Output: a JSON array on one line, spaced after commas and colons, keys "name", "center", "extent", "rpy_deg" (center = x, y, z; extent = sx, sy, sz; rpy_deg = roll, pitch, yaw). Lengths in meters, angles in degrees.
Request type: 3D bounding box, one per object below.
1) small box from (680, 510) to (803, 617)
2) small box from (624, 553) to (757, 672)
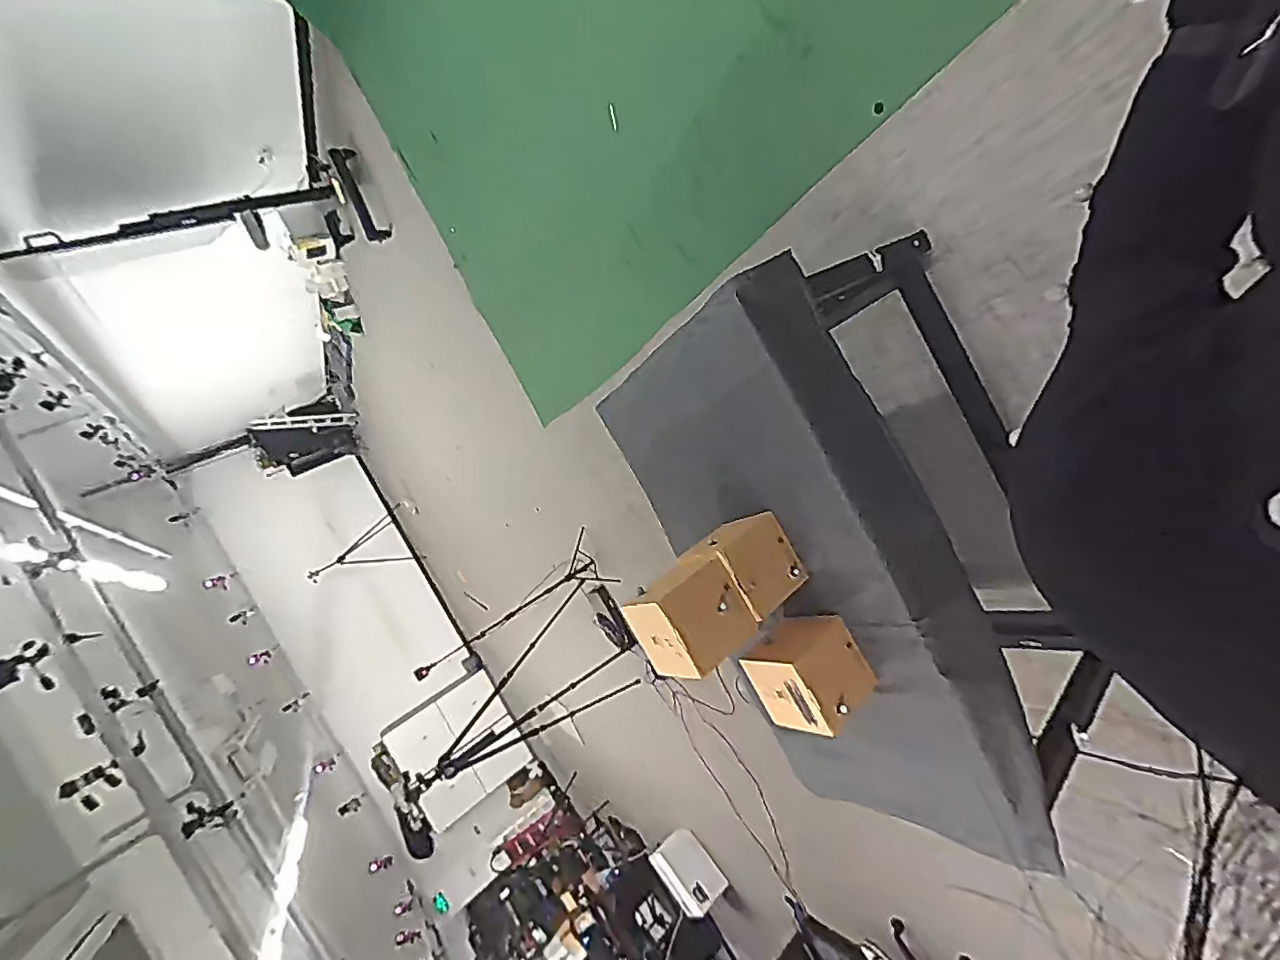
[{"name": "small box", "center": [0.225, 0.181, 1.171], "extent": [0.168, 0.176, 0.179], "rpy_deg": [61, 150, -1]}, {"name": "small box", "center": [0.103, 0.266, 1.100], "extent": [0.168, 0.176, 0.179], "rpy_deg": [59, 149, 0]}]
